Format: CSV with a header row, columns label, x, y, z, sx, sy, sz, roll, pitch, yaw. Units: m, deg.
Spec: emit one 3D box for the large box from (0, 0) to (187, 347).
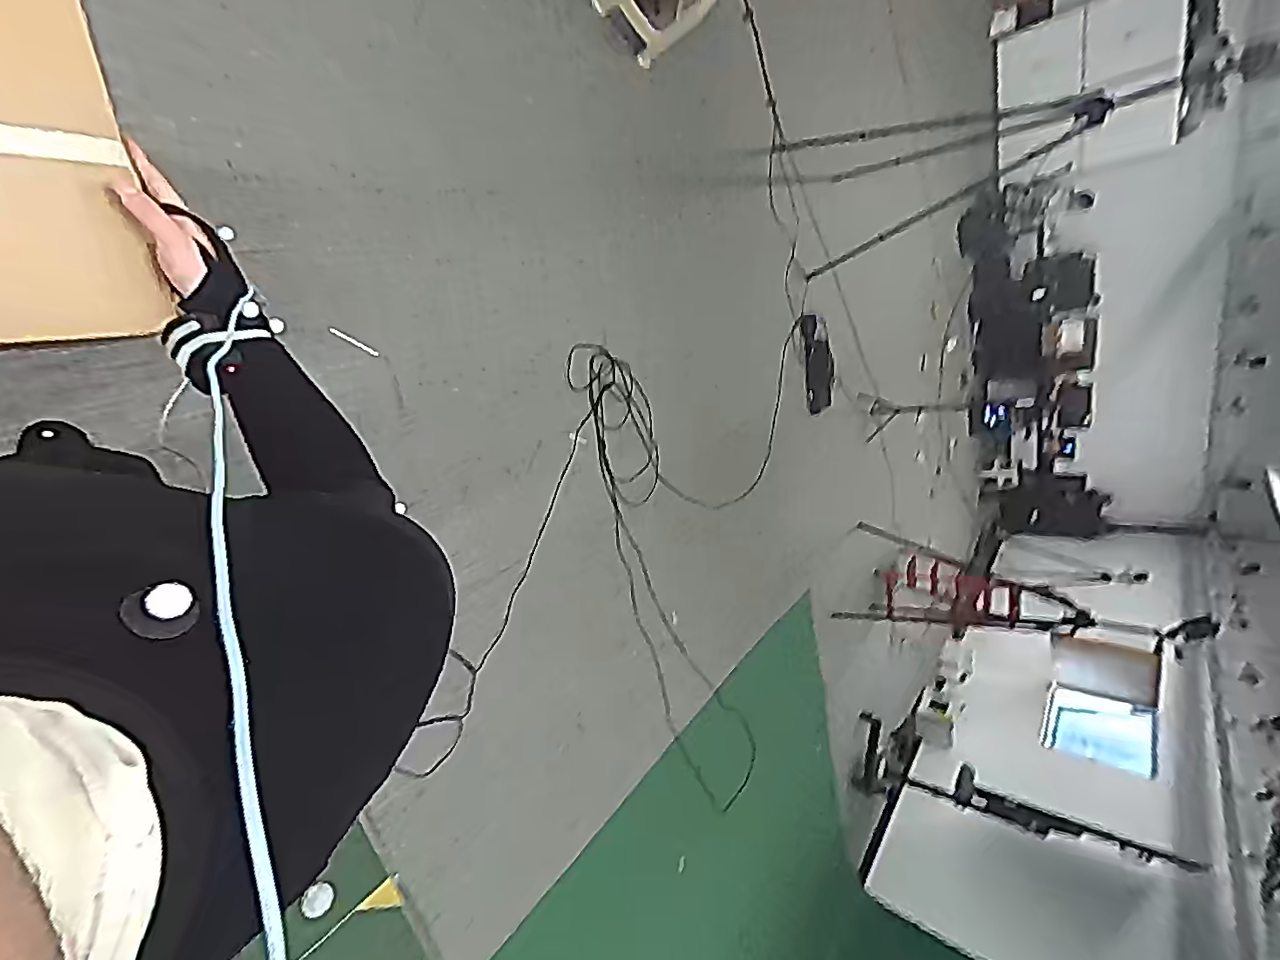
label,x,y,z,sx,sy,sz,roll,pitch,yaw
large box,-0.713,-0.266,0.455,0.408,0.320,0.320,-24,116,-47
